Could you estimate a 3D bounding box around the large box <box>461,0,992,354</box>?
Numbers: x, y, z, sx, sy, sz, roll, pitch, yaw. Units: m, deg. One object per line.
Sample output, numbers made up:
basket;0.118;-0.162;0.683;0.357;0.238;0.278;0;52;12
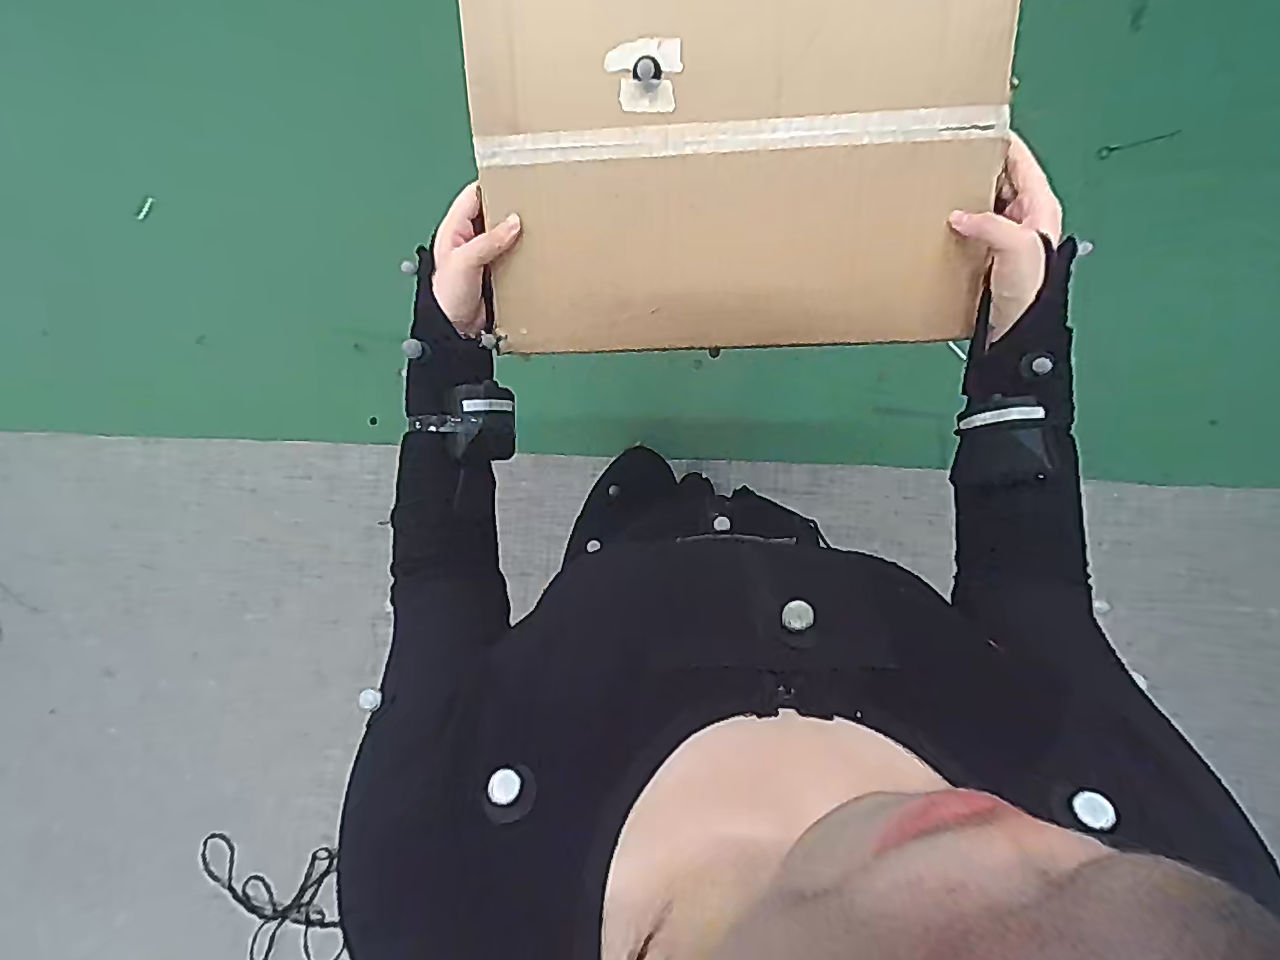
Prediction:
large box;0.077;-0.313;0.576;0.408;0.320;0.320;-1;106;5
